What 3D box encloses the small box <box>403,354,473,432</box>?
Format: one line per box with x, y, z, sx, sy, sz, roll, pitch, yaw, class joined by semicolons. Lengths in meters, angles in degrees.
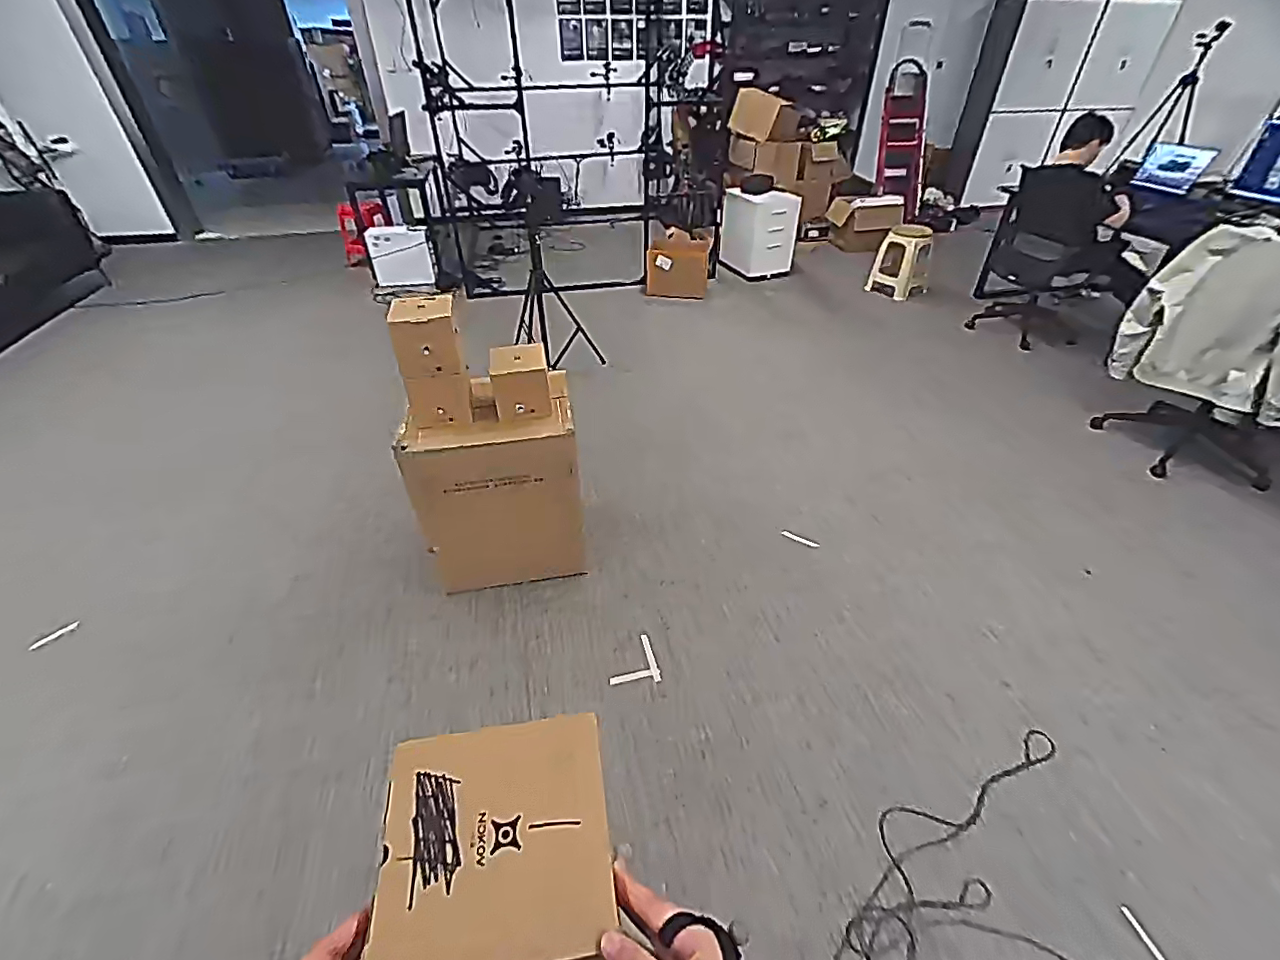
-0.610;-0.267;1.652;0.168;0.176;0.179;-8;40;-10;small box

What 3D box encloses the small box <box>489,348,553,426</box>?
-0.369;-0.290;1.681;0.168;0.176;0.179;-9;41;-7;small box

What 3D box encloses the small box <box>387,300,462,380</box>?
-0.611;-0.397;1.552;0.168;0.176;0.179;-9;40;-12;small box

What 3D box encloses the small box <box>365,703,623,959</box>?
-0.112;0.325;0.482;0.179;0.176;0.168;-6;46;-7;small box
